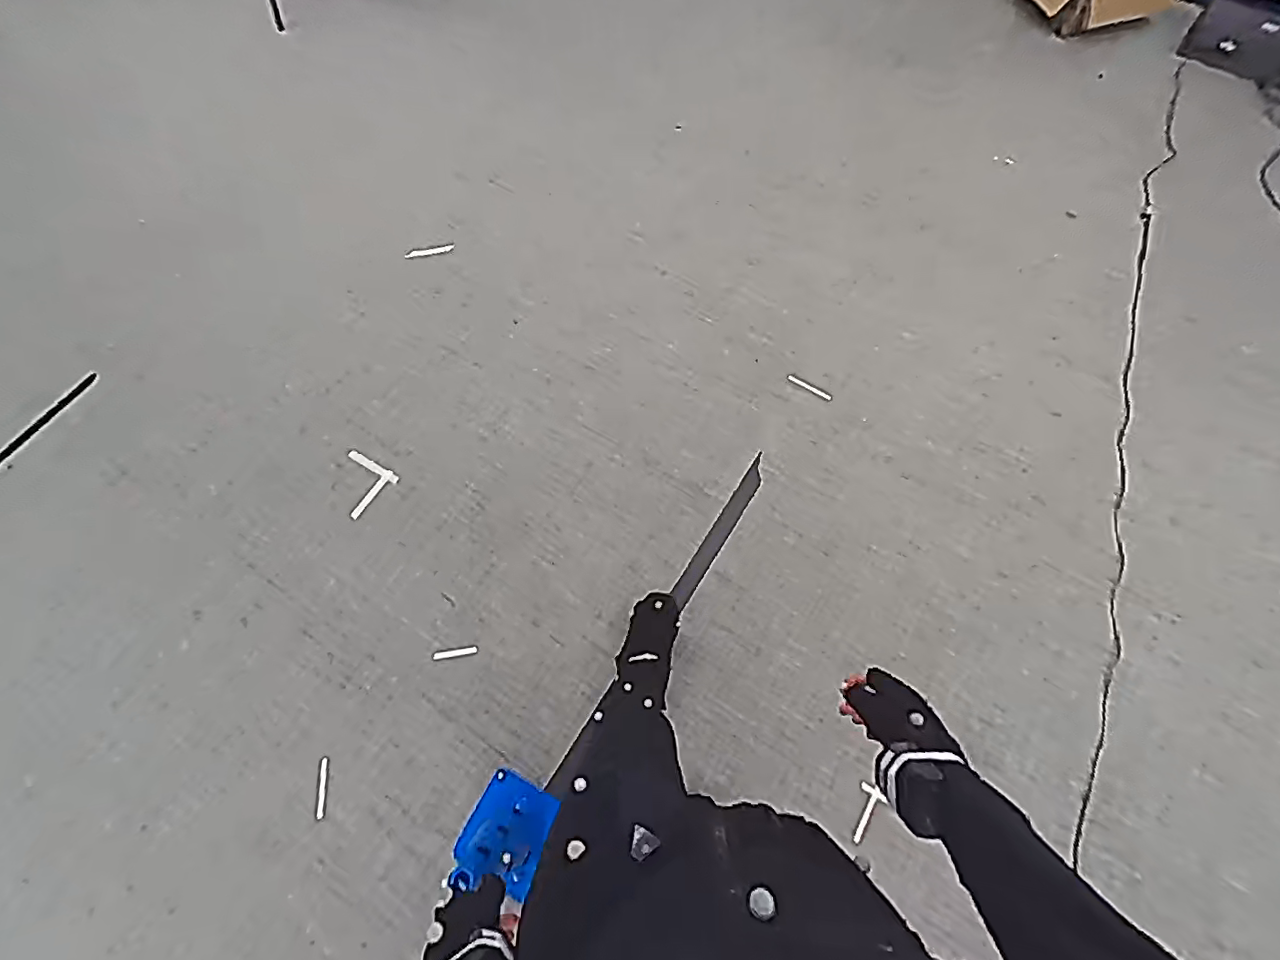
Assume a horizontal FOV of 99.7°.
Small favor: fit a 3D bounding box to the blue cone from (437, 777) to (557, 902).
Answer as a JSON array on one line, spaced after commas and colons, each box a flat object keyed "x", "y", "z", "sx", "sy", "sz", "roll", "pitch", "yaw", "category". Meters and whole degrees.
[{"x": -0.296, "y": 0.717, "z": 1.032, "sx": 0.192, "sy": 0.380, "sz": 0.193, "roll": 27, "pitch": 70, "yaw": 12, "category": "blue cone"}]
